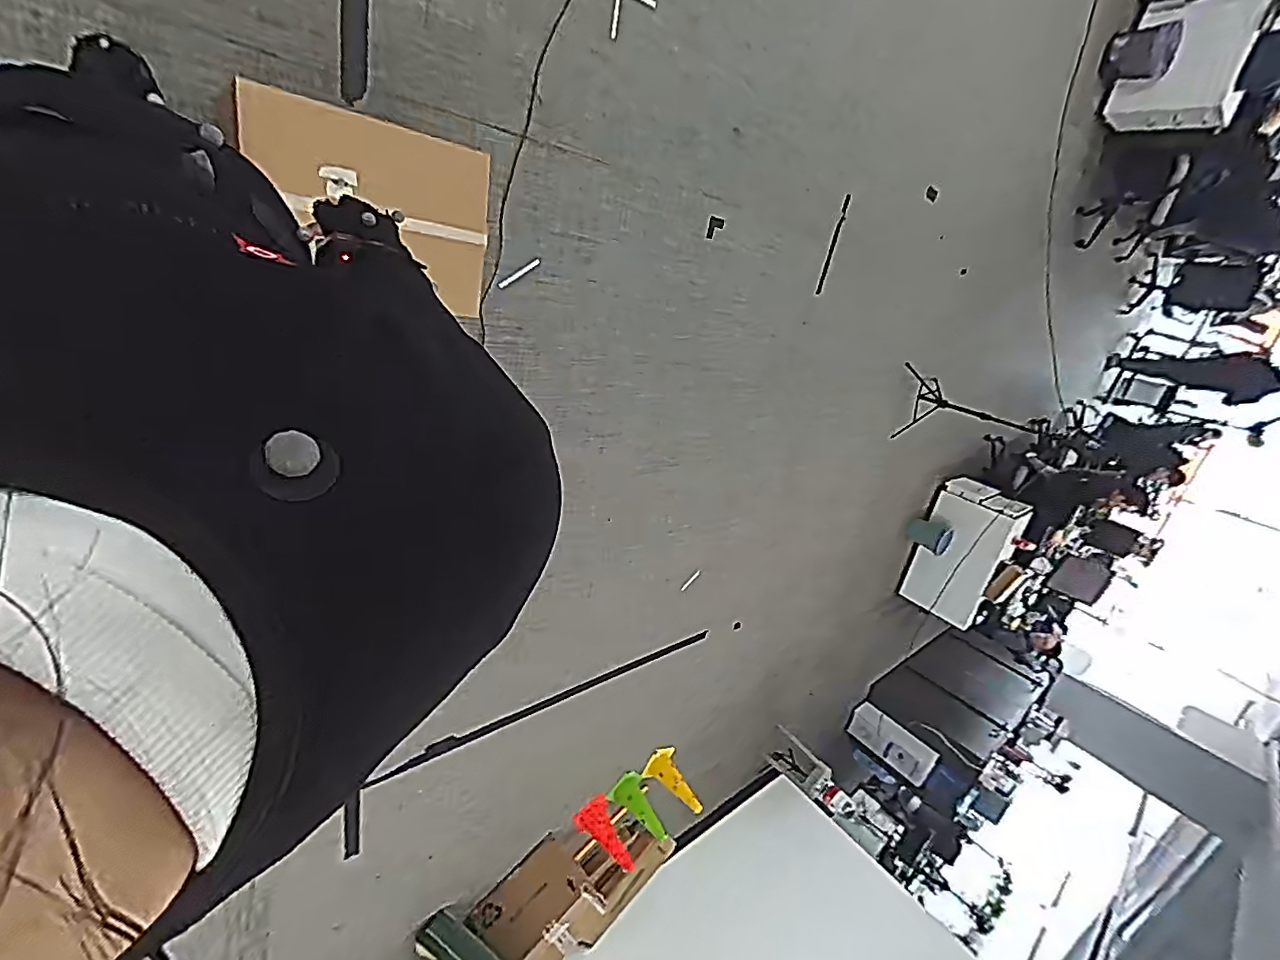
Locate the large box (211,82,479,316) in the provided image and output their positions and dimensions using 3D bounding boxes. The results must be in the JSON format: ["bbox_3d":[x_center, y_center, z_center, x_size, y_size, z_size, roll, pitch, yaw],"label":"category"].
[{"bbox_3d":[-0.575,-0.525,1.070,0.408,0.320,0.320,-7,116,-39],"label":"large box"}]
